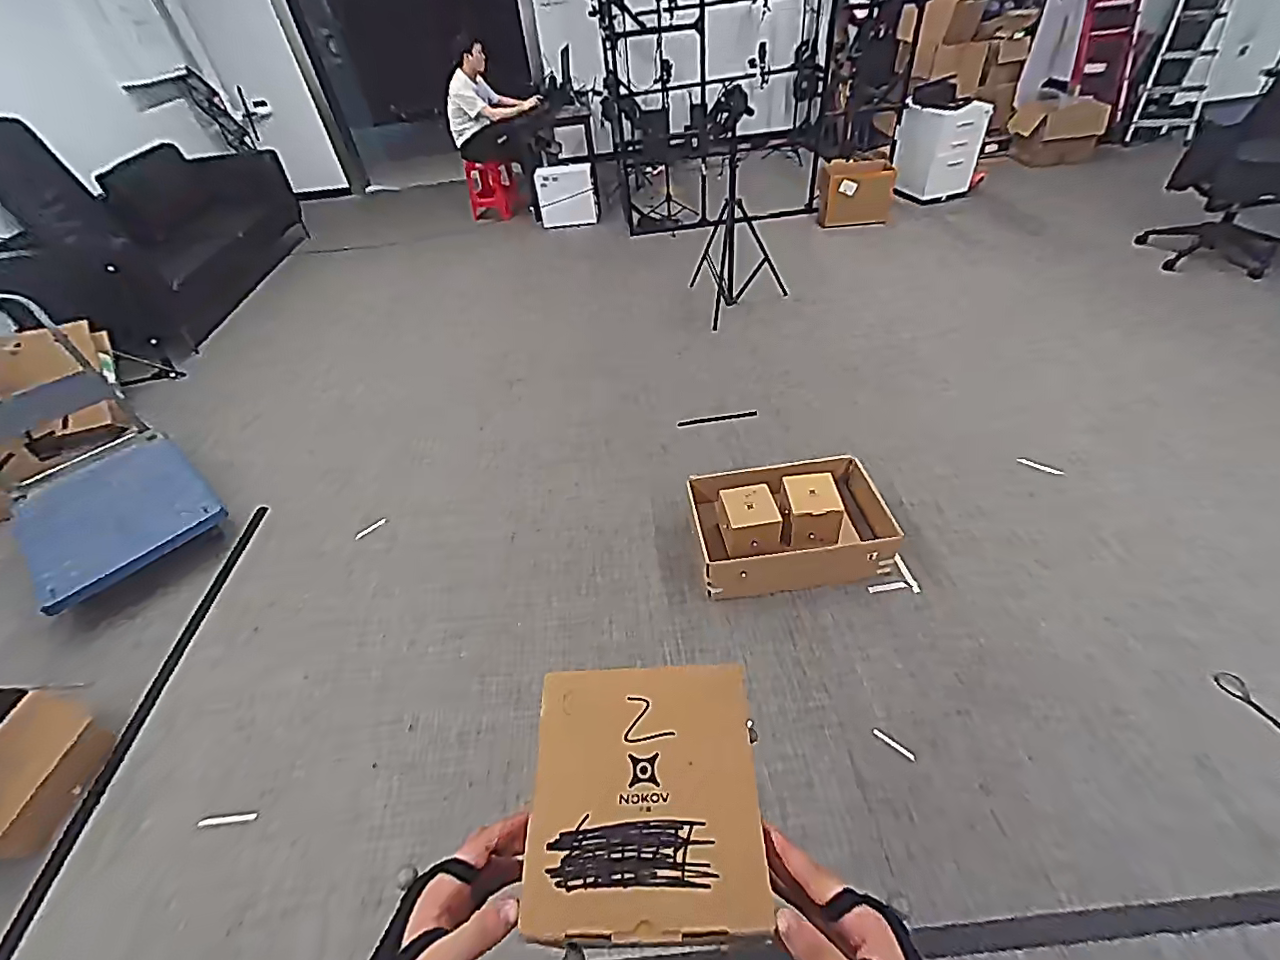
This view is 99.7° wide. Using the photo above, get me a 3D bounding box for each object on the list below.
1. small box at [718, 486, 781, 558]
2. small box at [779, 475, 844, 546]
[{"bbox_3d":[0.364,0.146,1.822,0.168,0.176,0.179,-8,43,-3],"label":"small box"},{"bbox_3d":[0.577,0.104,1.841,0.168,0.176,0.179,-5,44,3],"label":"small box"}]
